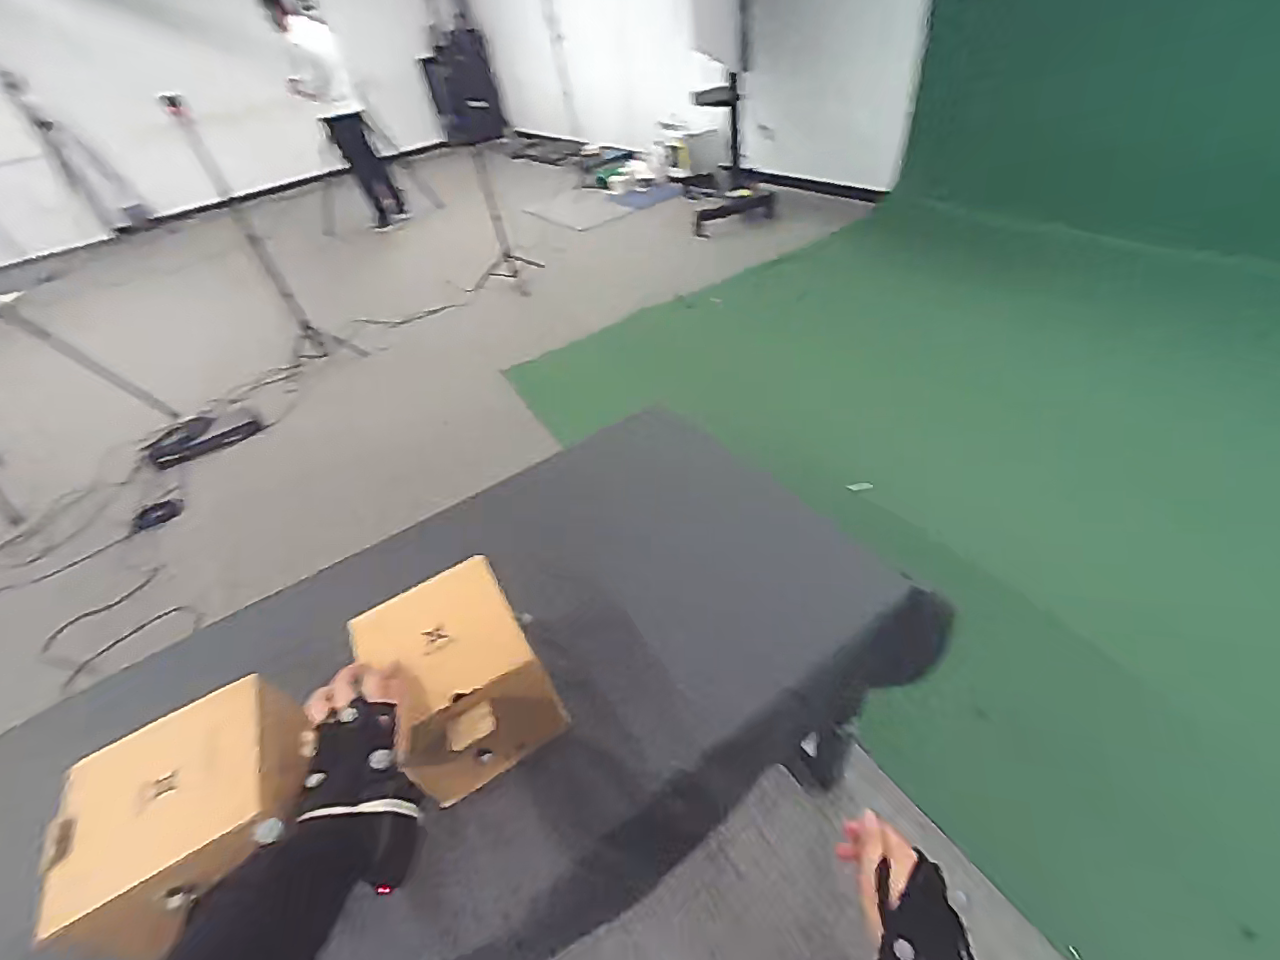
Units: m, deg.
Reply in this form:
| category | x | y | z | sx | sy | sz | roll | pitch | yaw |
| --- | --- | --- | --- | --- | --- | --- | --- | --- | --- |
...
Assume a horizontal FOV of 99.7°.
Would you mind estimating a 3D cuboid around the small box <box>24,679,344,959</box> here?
| category | x | y | z | sx | sy | sz | roll | pitch | yaw |
| --- | --- | --- | --- | --- | --- | --- | --- | --- | --- |
| small box | -0.442 | 0.353 | 0.560 | 0.179 | 0.176 | 0.168 | -26 | 44 | -18 |

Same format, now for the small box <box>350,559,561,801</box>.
| category | x | y | z | sx | sy | sz | roll | pitch | yaw |
| --- | --- | --- | --- | --- | --- | --- | --- | --- | --- |
| small box | -0.214 | 0.235 | 0.644 | 0.168 | 0.176 | 0.179 | -28 | 45 | -18 |
